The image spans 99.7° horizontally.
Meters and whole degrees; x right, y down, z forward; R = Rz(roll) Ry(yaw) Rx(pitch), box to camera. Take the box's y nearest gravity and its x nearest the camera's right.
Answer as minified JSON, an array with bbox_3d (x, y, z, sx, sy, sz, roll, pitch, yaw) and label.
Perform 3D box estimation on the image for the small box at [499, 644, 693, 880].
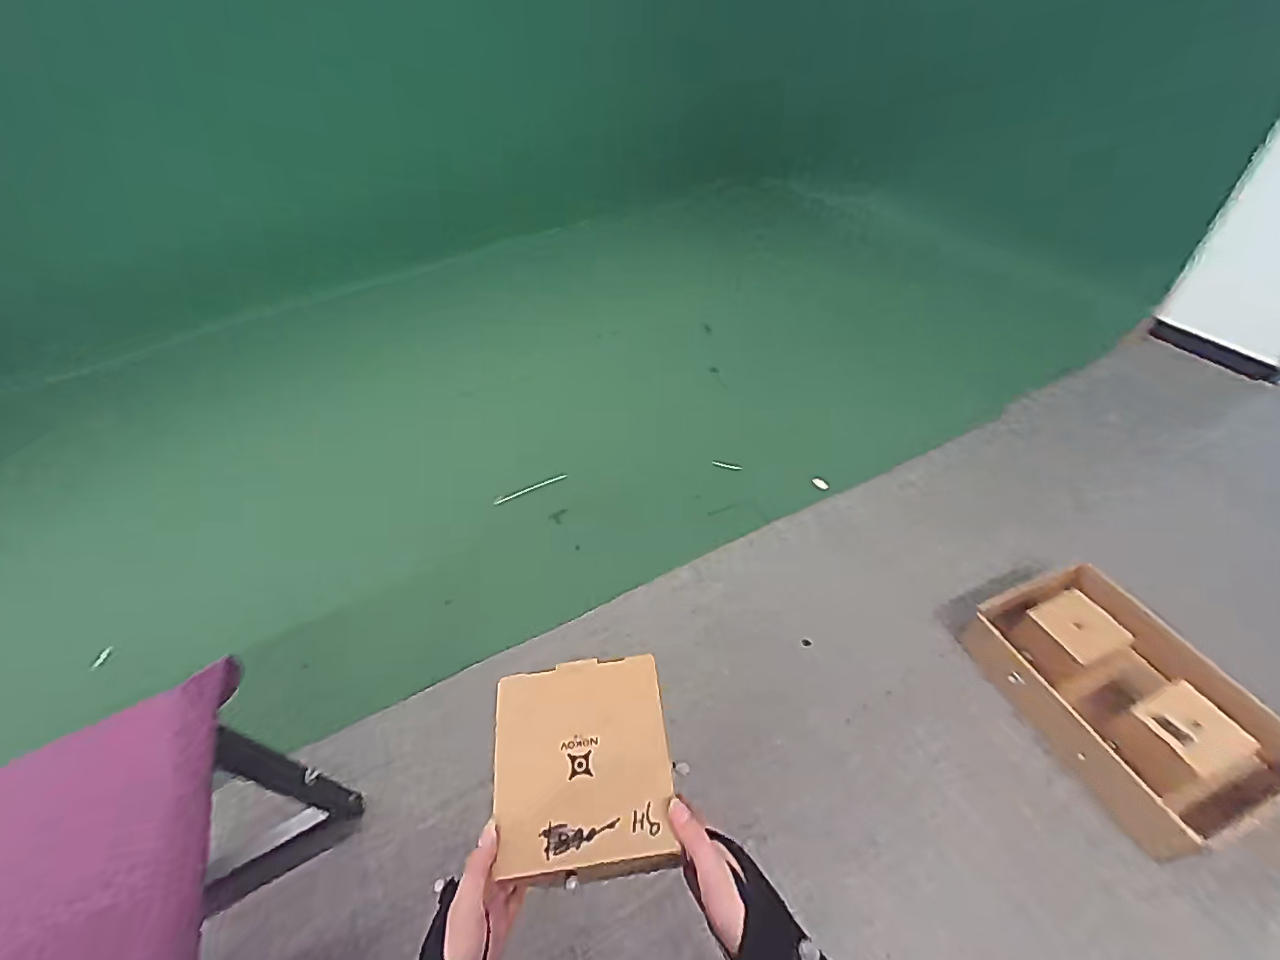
[{"bbox_3d":[-0.039,0.297,0.567,0.168,0.176,0.179,-9,50,1],"label":"small box"}]

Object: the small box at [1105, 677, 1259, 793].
[{"bbox_3d":[1.259,0.605,1.276,0.179,0.176,0.168,-20,47,-12],"label":"small box"}]
